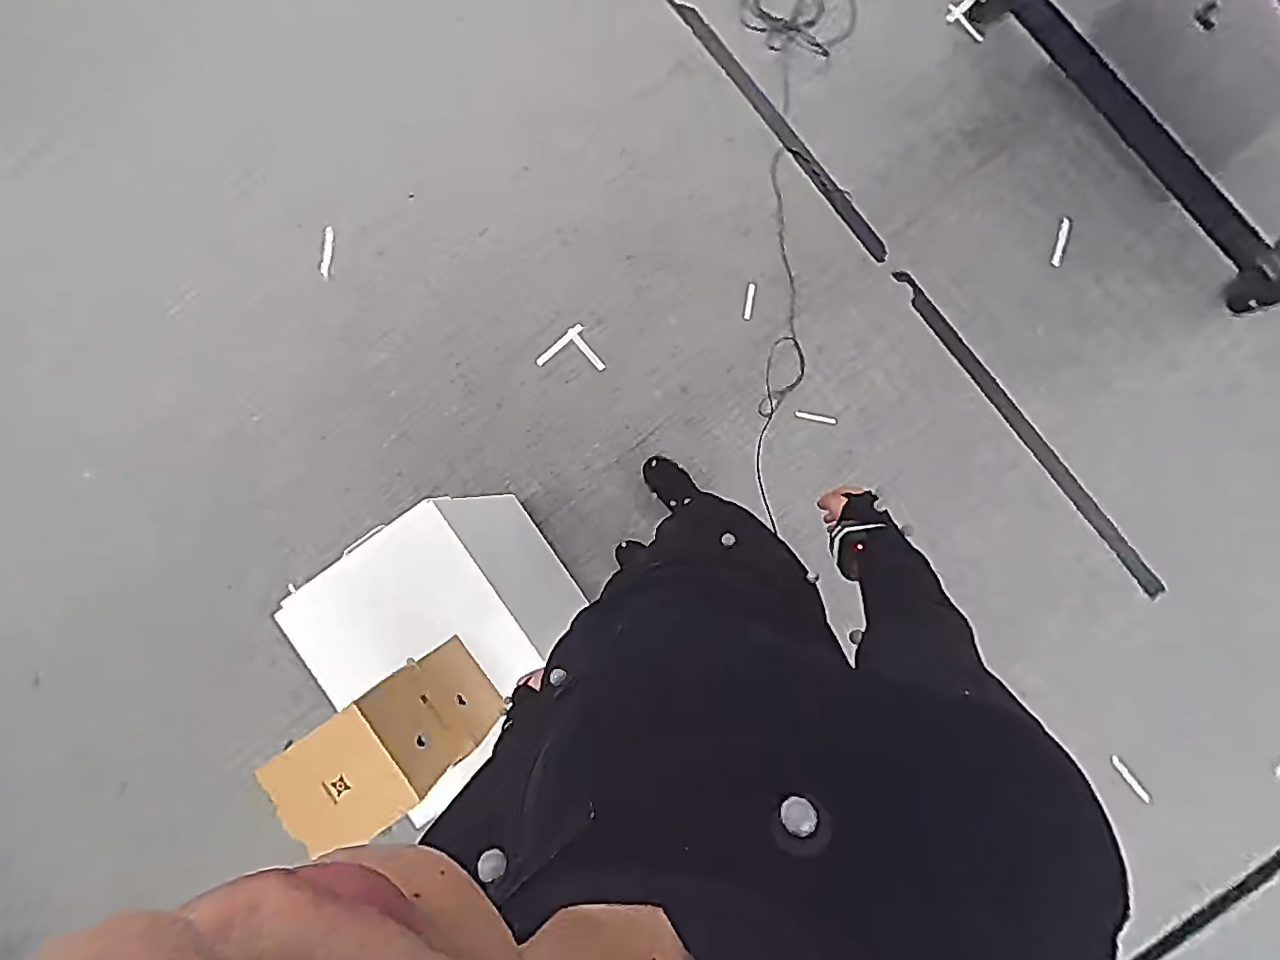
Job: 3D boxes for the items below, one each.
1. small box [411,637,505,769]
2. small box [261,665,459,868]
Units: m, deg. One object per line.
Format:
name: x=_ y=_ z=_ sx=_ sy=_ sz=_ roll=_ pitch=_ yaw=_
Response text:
small box: x=-0.371 y=0.412 z=0.969 sx=0.168 sy=0.176 sz=0.179 roll=-38 pitch=87 yaw=2
small box: x=-0.396 y=0.409 z=0.808 sx=0.179 sy=0.176 sz=0.168 roll=-37 pitch=88 yaw=3
